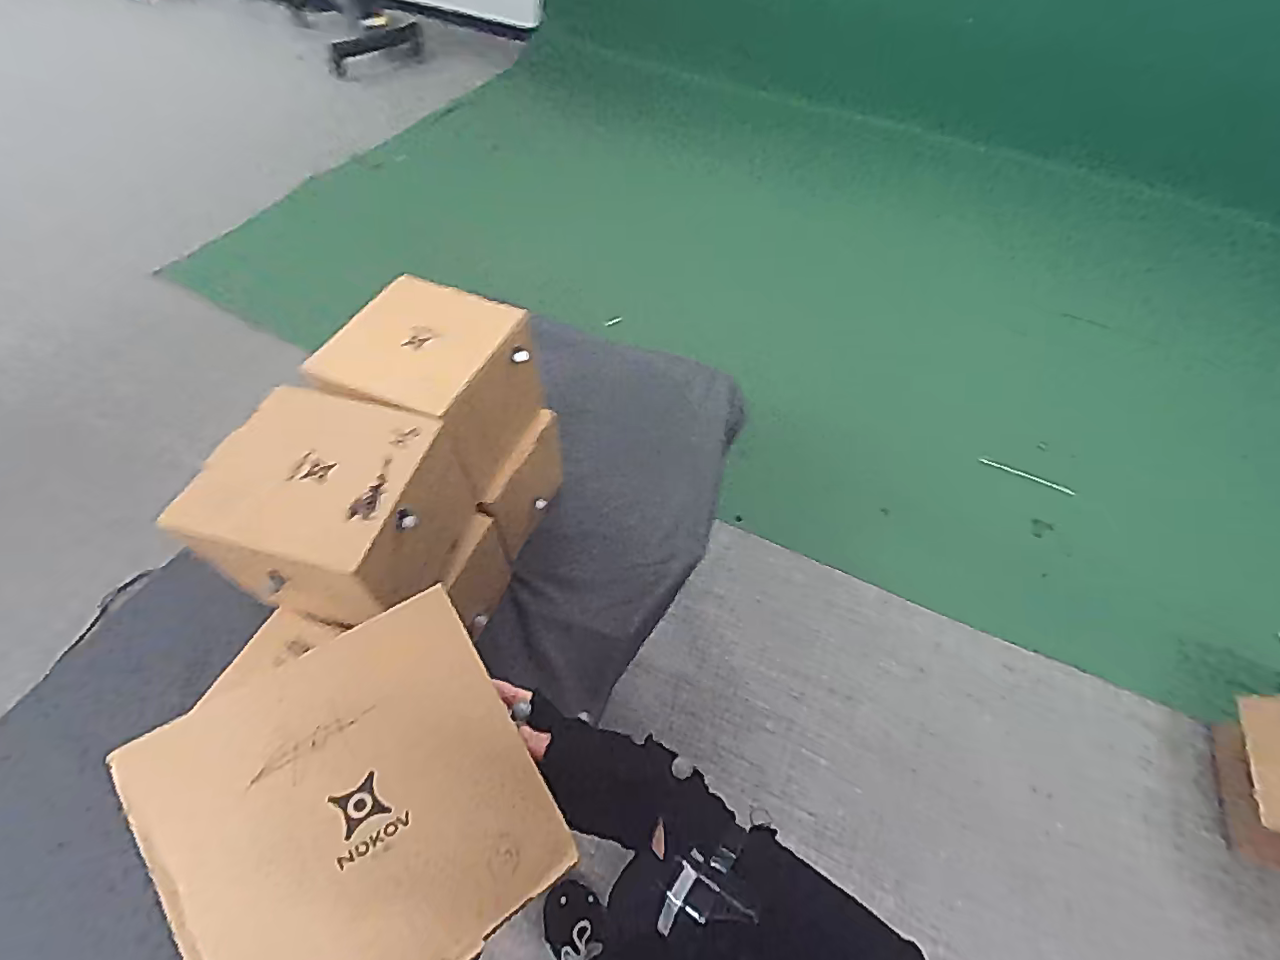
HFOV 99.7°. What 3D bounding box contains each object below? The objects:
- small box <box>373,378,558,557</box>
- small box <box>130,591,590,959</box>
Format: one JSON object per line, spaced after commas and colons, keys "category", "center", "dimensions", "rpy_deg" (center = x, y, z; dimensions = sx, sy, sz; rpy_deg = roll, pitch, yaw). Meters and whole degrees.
{"category": "small box", "center": [-0.235, -0.013, 0.778], "dimensions": [0.179, 0.176, 0.168], "rpy_deg": [20, 57, 10]}
{"category": "small box", "center": [-0.156, 0.195, 0.346], "dimensions": [0.168, 0.176, 0.179], "rpy_deg": [-27, 80, -25]}
